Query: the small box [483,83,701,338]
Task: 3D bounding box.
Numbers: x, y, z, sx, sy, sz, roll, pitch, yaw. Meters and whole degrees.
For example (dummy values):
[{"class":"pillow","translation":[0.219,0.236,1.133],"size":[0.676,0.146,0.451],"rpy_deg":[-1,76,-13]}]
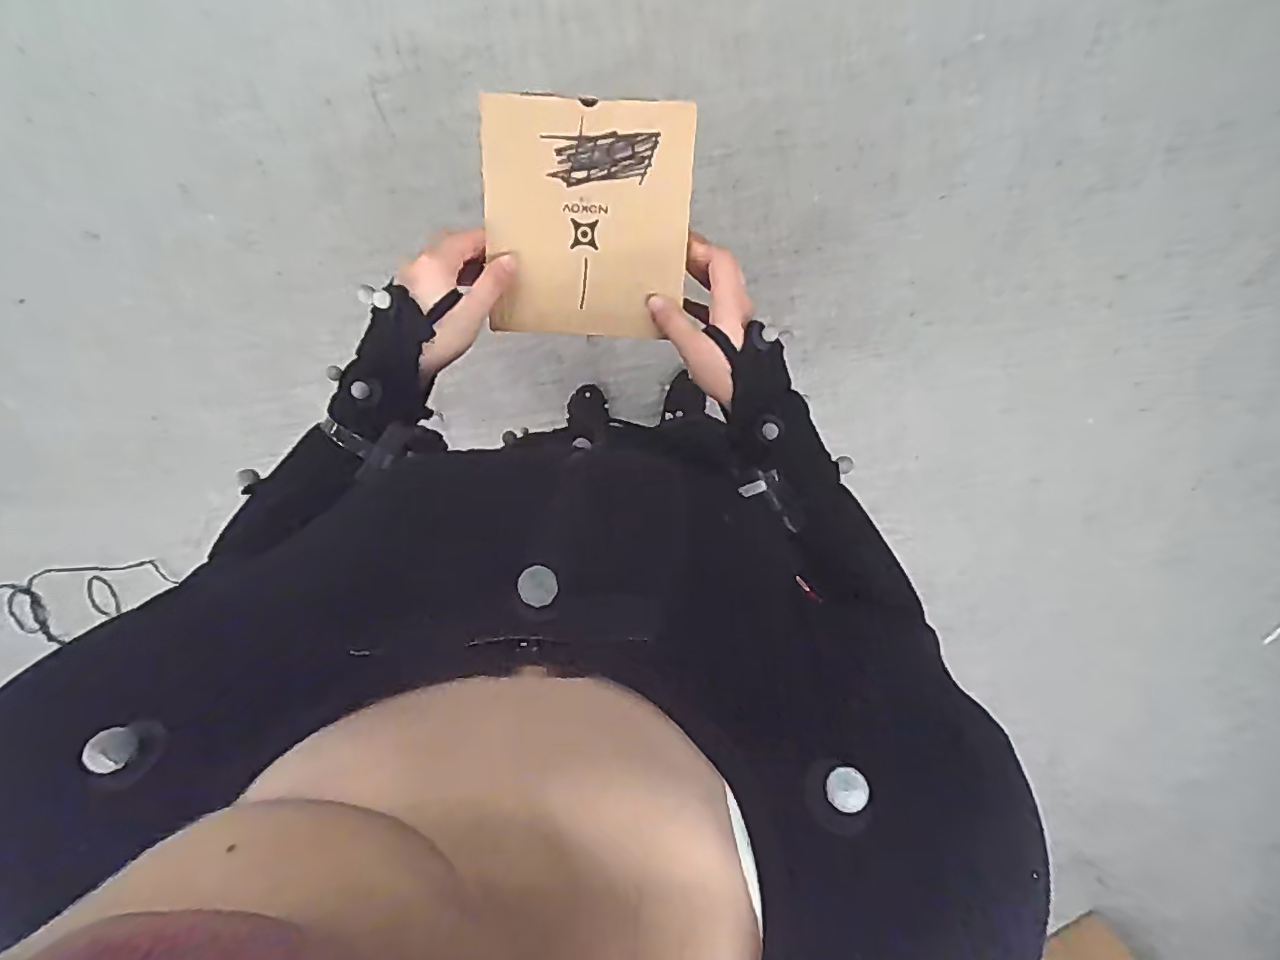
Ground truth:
[{"class":"small box","translation":[-0.038,-0.230,0.500],"size":[0.168,0.176,0.179],"rpy_deg":[4,109,2]}]
